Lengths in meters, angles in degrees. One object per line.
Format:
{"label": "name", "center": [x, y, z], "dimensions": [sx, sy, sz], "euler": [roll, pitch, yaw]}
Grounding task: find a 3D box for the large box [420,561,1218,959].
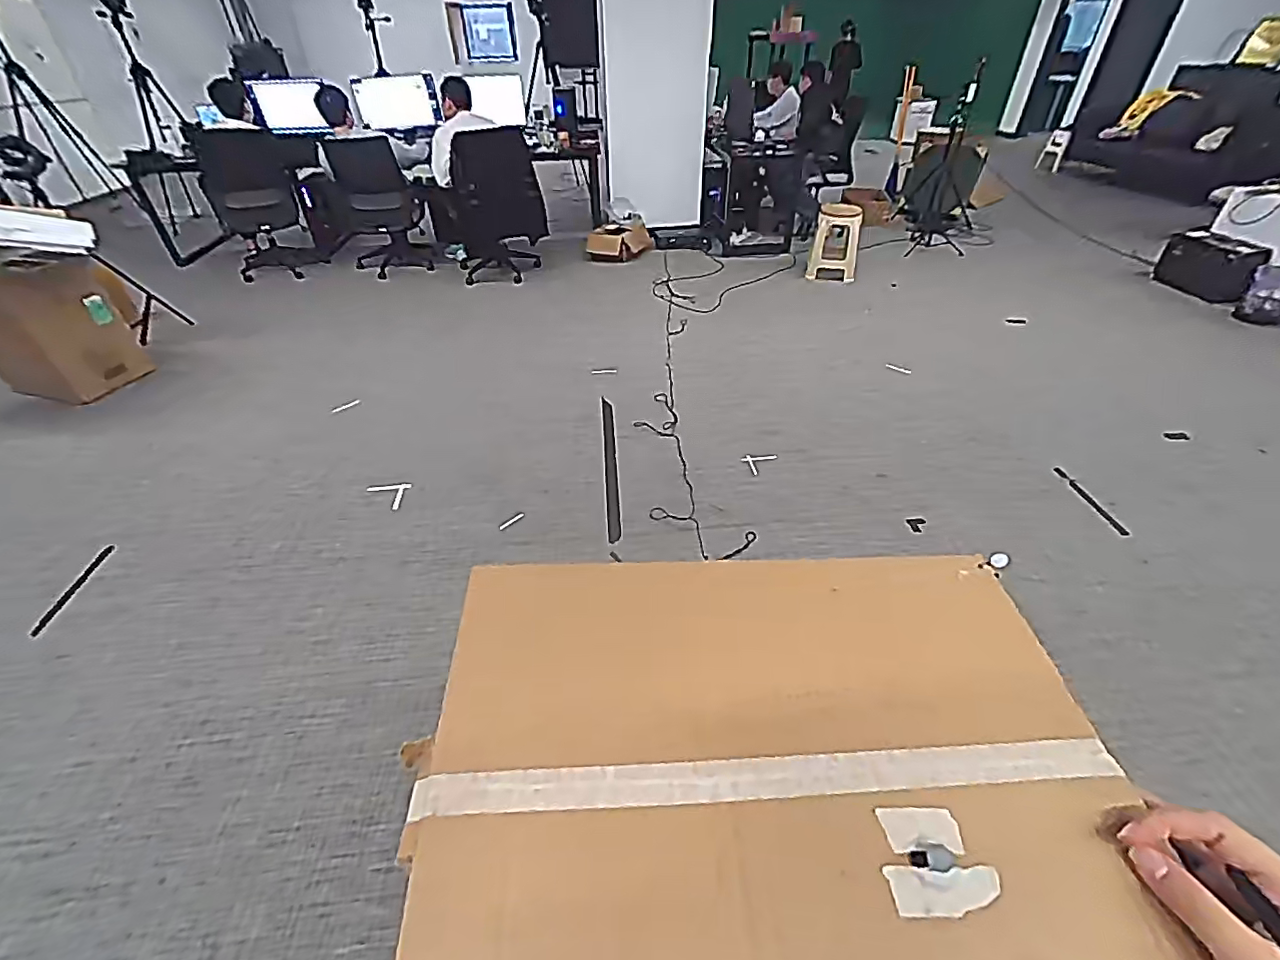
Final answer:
{"label": "large box", "center": [0.076, 0.282, 0.427], "dimensions": [0.408, 0.320, 0.320], "euler": [0, 45, -5]}
